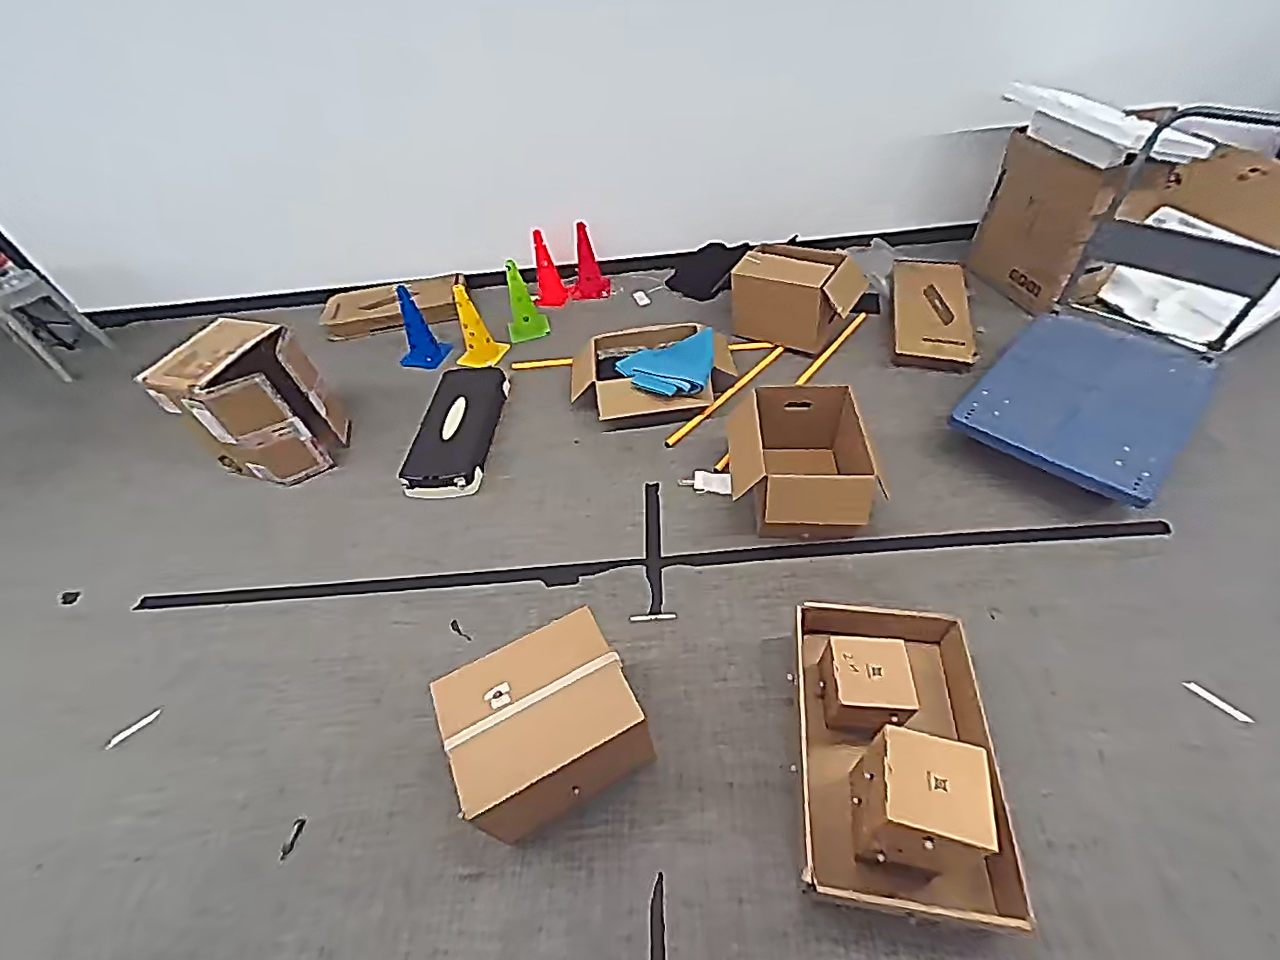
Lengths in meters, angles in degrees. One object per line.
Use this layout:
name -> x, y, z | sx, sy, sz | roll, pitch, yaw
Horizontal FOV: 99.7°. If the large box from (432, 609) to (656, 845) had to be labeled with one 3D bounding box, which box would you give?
large box -> -0.215, 0.589, 1.298 | 0.408, 0.320, 0.320 | -26, 50, -14
